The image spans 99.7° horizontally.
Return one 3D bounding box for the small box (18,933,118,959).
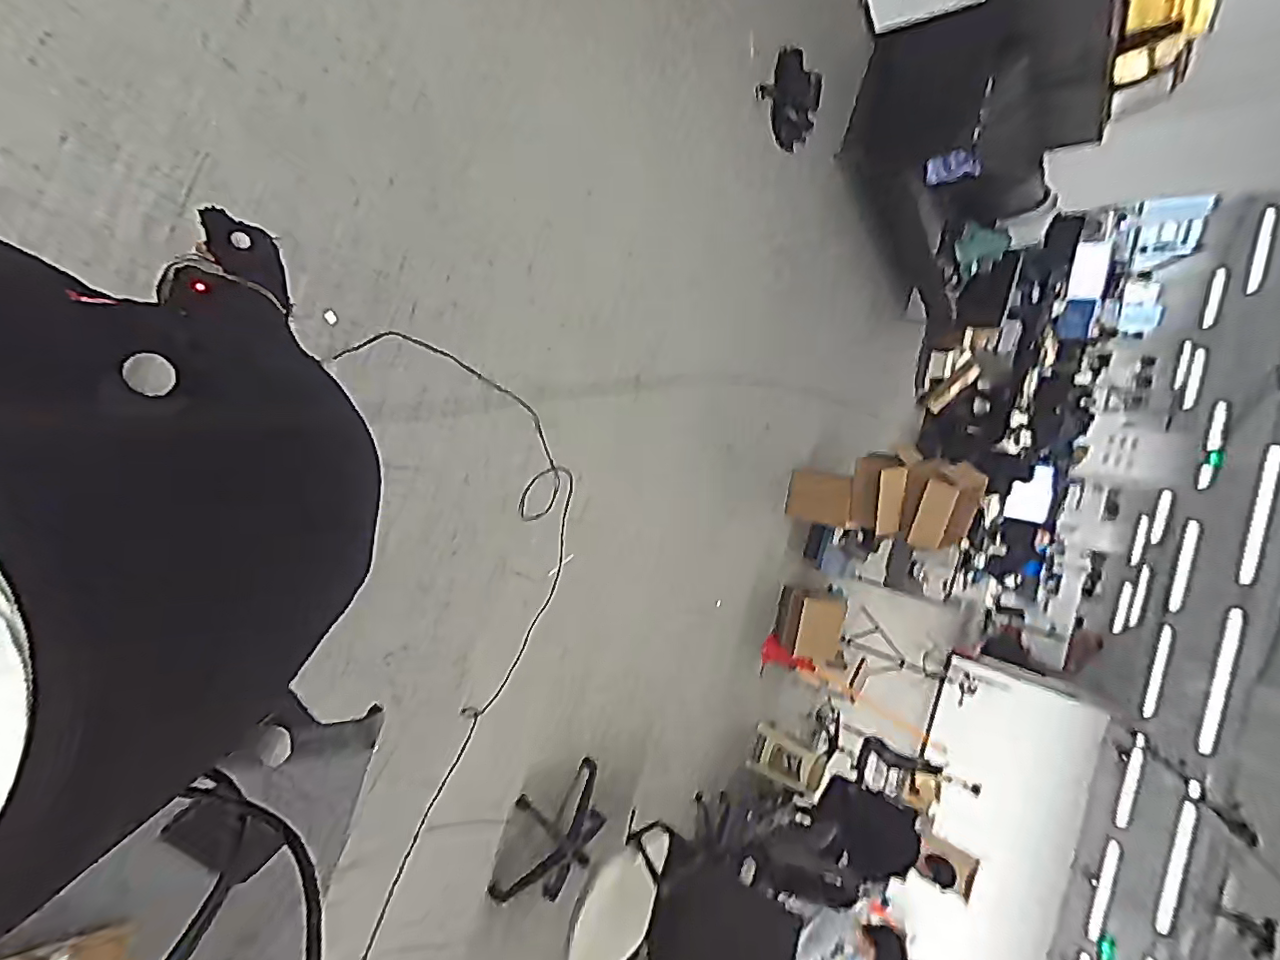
[{"bbox_3d":[-0.637,0.619,0.534,0.168,0.176,0.179,22,83,-52],"label":"small box"}]
